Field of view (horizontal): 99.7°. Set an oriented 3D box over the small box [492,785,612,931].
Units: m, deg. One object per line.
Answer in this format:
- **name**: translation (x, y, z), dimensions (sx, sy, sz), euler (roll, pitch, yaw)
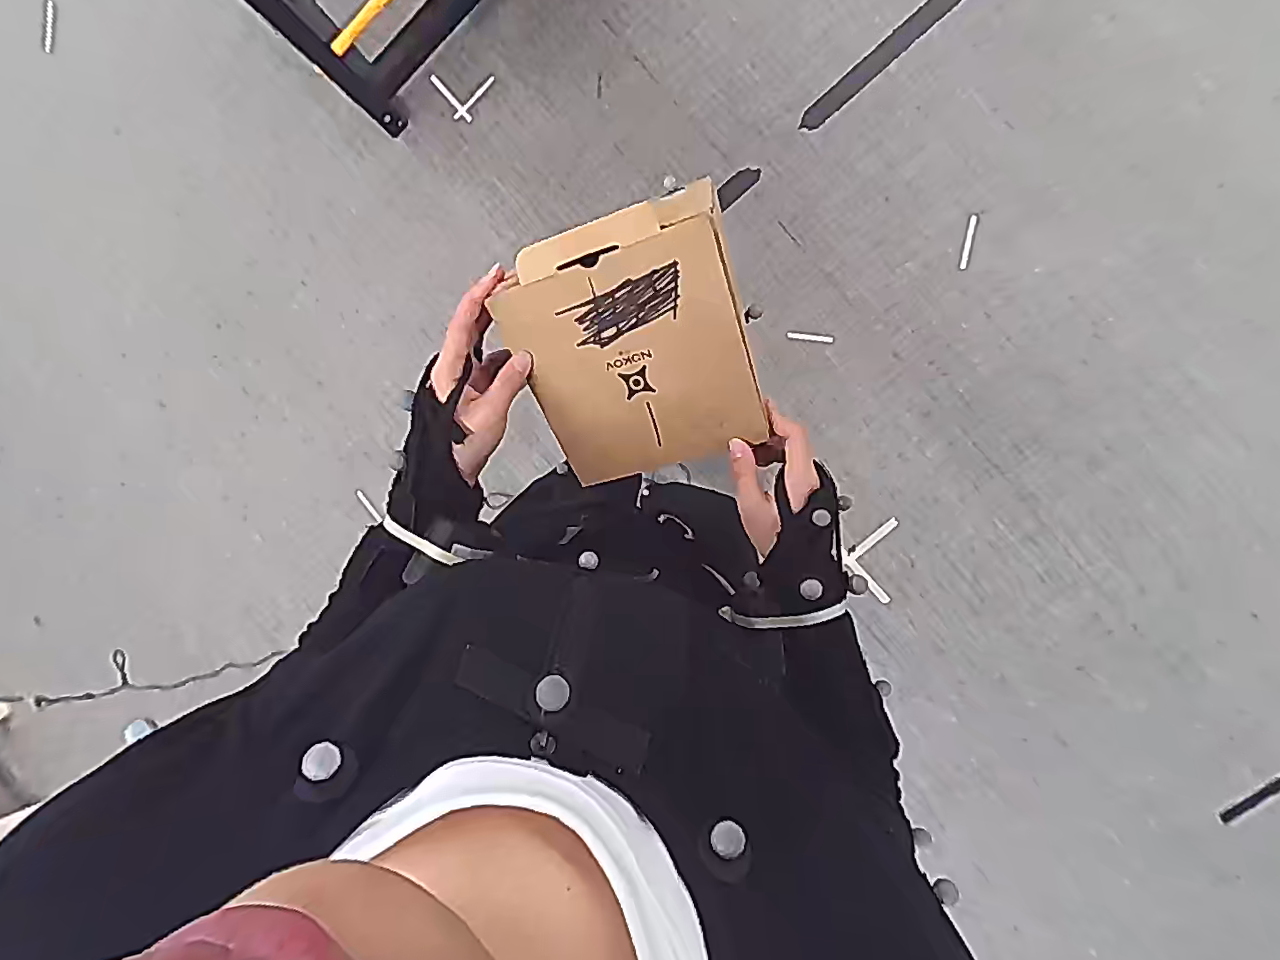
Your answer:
- **small box**: translation (-0.186, 0.815, 1.194), dimensions (0.179, 0.176, 0.168), euler (43, 98, 2)
